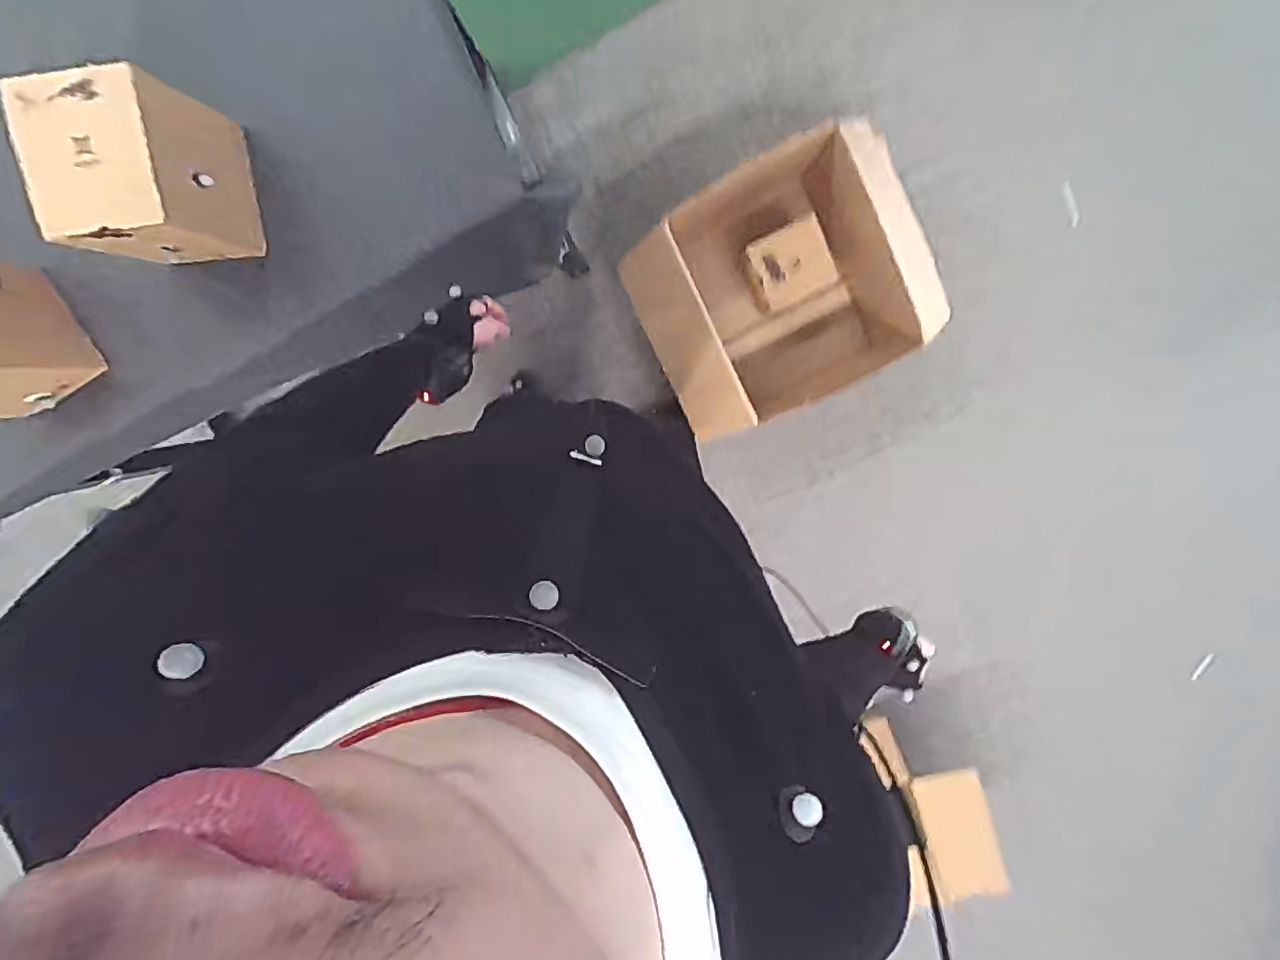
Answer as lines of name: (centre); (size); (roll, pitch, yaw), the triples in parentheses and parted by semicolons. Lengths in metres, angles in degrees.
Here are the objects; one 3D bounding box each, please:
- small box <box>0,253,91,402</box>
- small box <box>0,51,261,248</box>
small box: (-0.945, -0.212, 0.744); (0.168, 0.176, 0.179); (-27, 100, 8)
small box: (-0.637, -0.408, 0.703); (0.168, 0.176, 0.179); (-3, 102, 4)
